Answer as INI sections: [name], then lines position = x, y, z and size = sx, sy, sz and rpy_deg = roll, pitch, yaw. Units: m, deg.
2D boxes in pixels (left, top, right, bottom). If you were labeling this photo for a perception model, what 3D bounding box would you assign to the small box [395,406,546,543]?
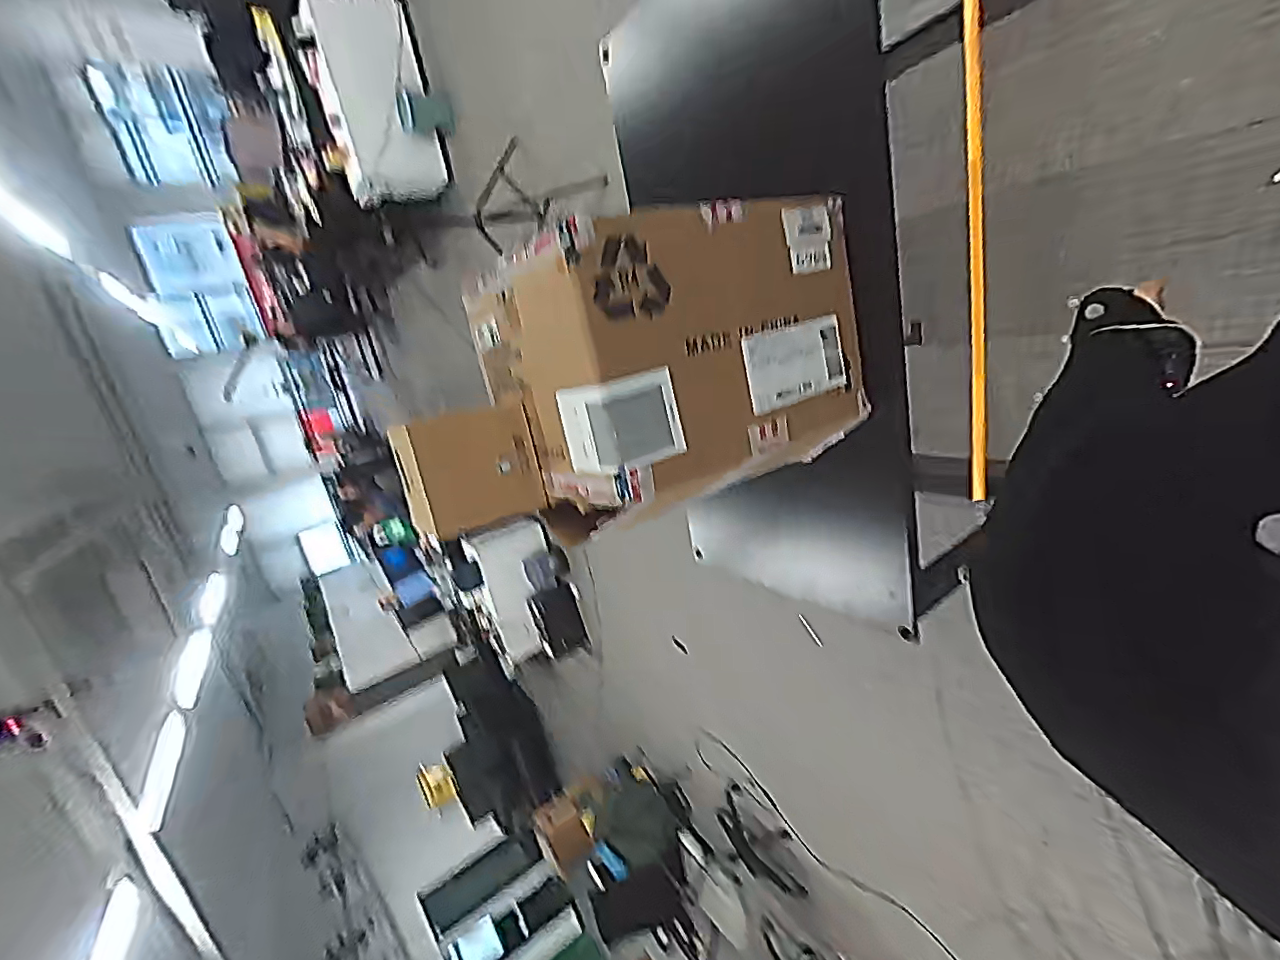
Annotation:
[small box]
position = -0.263, -0.015, 0.839
size = 0.179, 0.176, 0.168
rpy_deg = 3, 109, 59
